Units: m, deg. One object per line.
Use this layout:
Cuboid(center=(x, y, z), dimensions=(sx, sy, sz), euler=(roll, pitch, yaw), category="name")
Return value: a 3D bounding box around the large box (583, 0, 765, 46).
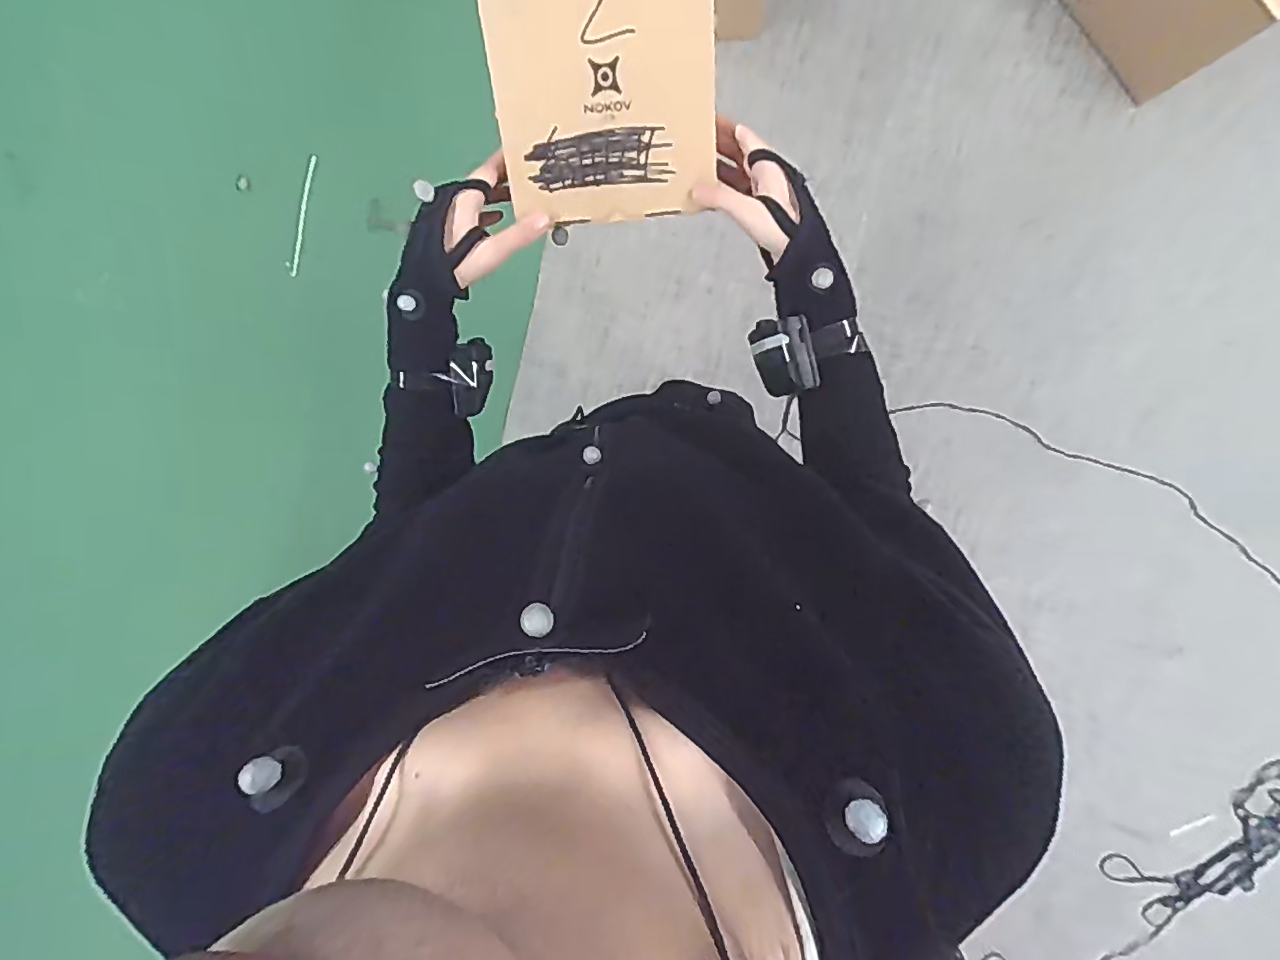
Cuboid(center=(0.075, -1.205, 1.165), dimensions=(0.408, 0.320, 0.320), euler=(1, 98, 5), category="large box")
